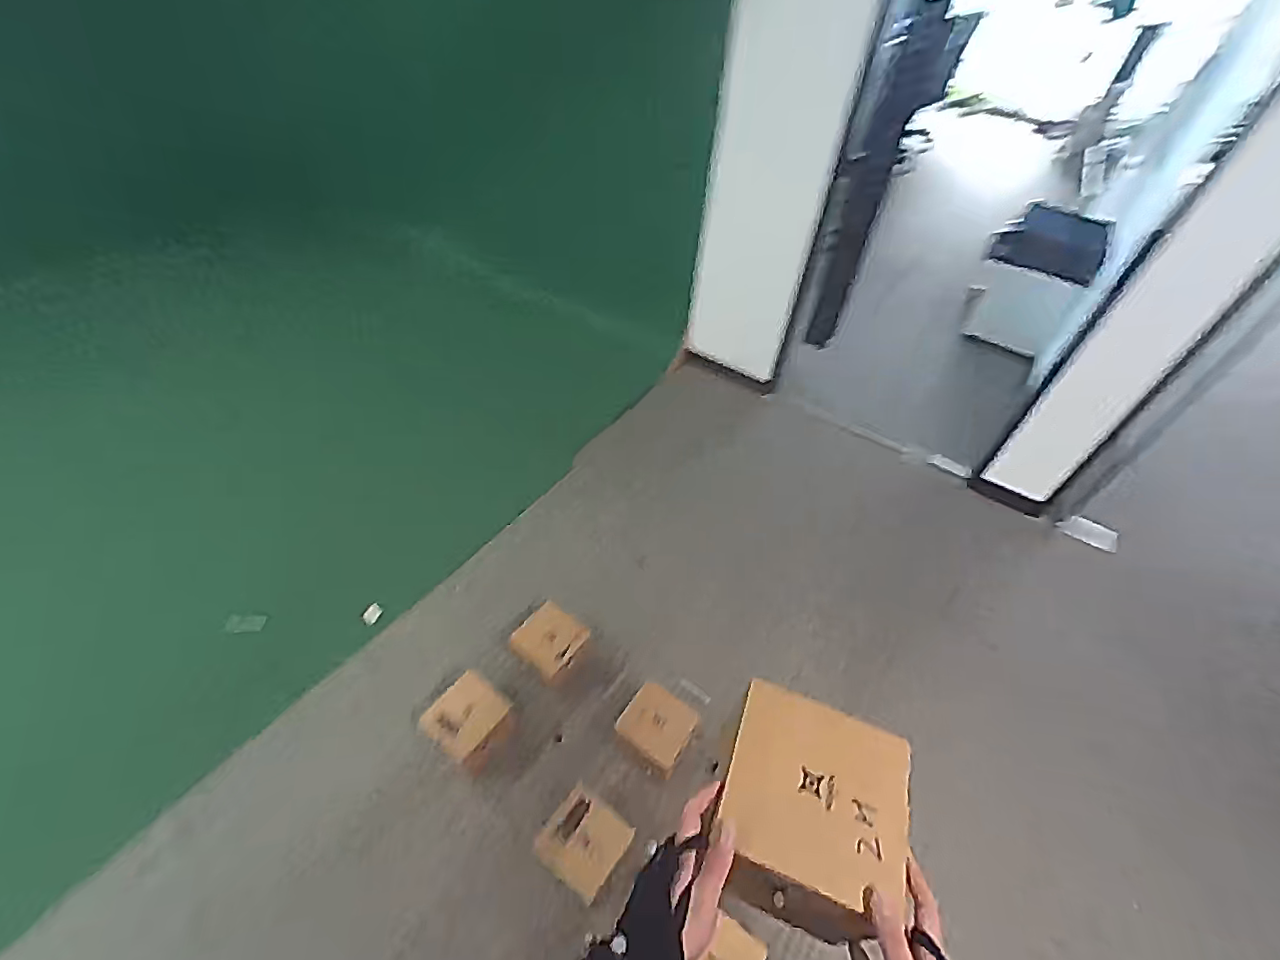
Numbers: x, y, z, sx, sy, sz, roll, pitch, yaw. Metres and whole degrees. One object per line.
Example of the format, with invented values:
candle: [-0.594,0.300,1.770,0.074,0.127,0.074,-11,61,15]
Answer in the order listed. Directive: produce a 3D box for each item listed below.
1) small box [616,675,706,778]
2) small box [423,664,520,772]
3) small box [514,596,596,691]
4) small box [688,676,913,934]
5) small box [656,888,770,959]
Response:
small box: [0.052,0.670,1.455,0.179,0.176,0.168,31,51,22]
small box: [-0.439,0.637,1.441,0.168,0.176,0.179,32,52,22]
small box: [-0.246,0.487,1.596,0.179,0.176,0.168,33,53,24]
small box: [0.162,0.345,0.572,0.179,0.176,0.168,20,48,10]
small box: [0.145,1.018,1.146,0.179,0.176,0.168,30,52,20]
